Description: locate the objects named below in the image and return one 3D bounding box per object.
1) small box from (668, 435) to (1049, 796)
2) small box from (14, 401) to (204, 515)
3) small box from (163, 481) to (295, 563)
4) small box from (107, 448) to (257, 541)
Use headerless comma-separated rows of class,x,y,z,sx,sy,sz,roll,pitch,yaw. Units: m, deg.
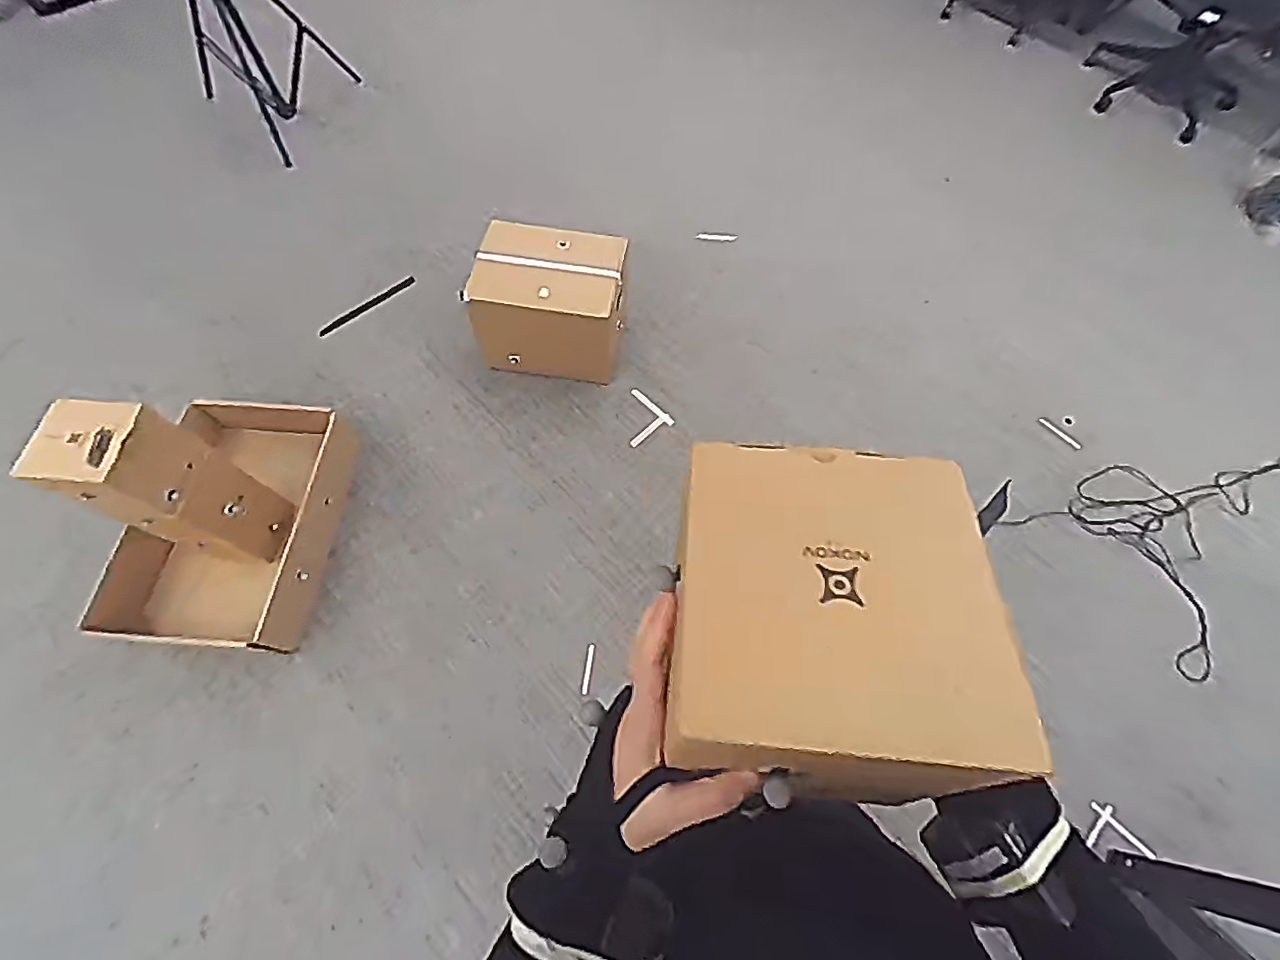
small box,0.107,0.094,0.354,0.168,0.176,0.179,5,54,2
small box,-1.021,-0.037,1.063,0.179,0.176,0.168,4,65,2
small box,-1.023,0.101,1.359,0.179,0.176,0.168,7,65,1
small box,-1.020,0.031,1.213,0.179,0.176,0.168,6,66,0
